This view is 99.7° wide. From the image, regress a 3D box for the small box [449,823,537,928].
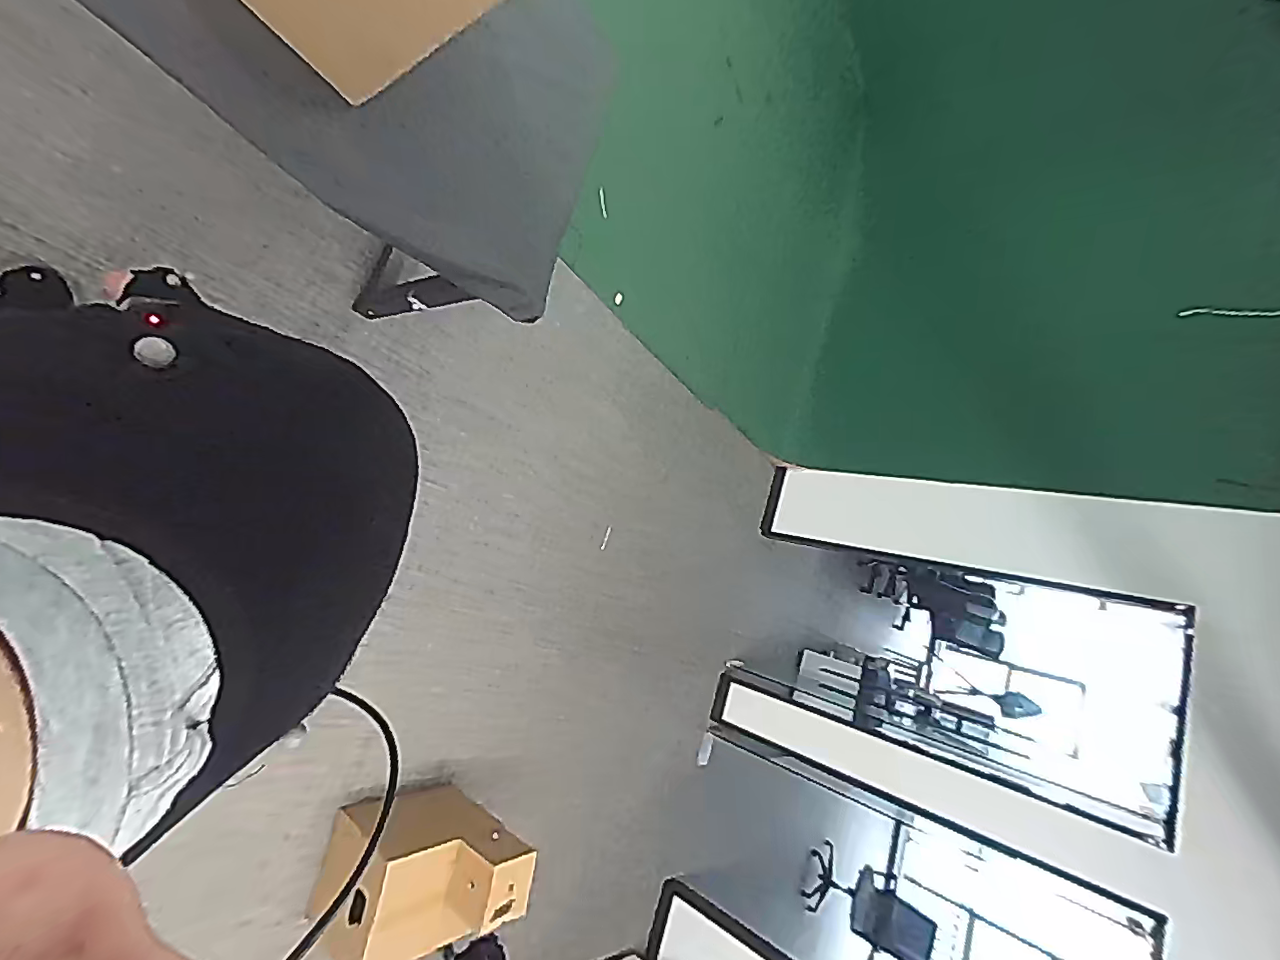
[{"bbox_3d":[-0.437,1.157,1.597,0.168,0.176,0.179,24,73,-51],"label":"small box"}]
